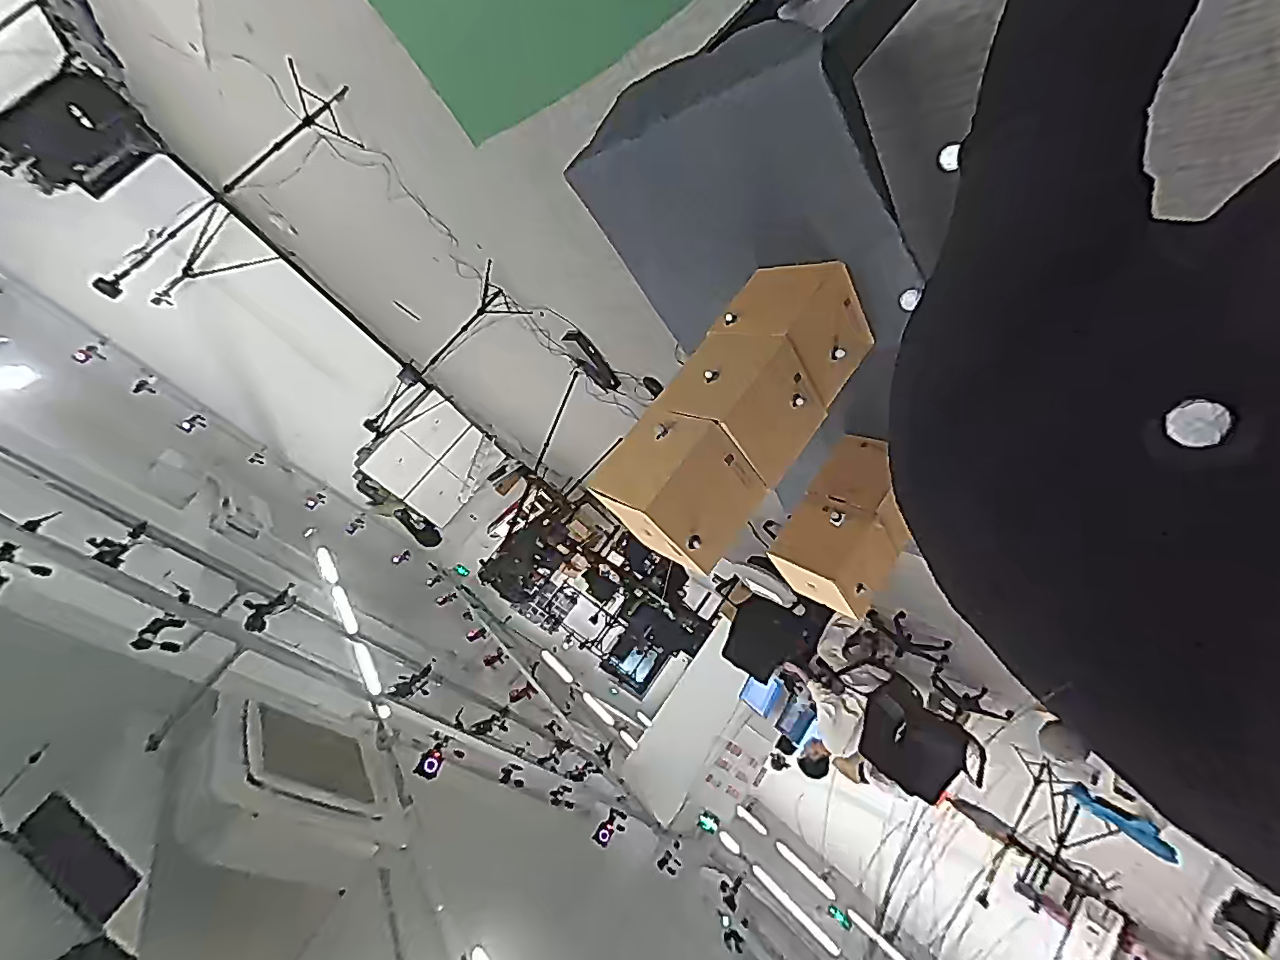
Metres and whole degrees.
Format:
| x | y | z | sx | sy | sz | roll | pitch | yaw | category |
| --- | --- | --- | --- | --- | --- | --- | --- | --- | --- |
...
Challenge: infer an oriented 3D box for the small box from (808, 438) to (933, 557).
| x | y | z | sx | sy | sz | roll | pitch | yaw | category |
| --- | --- | --- | --- | --- | --- | --- | --- | --- | --- |
| 0.500 | 0.032 | 1.167 | 0.168 | 0.176 | 0.179 | 21 | 160 | 51 | small box |

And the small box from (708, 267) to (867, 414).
| x | y | z | sx | sy | sz | roll | pitch | yaw | category |
| --- | --- | --- | --- | --- | --- | --- | --- | --- | --- |
| 0.254 | -0.235 | 0.907 | 0.179 | 0.176 | 0.168 | 22 | 159 | 52 | small box |

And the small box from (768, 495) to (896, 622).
| x | y | z | sx | sy | sz | roll | pitch | yaw | category |
| --- | --- | --- | --- | --- | --- | --- | --- | --- | --- |
| 0.406 | 0.160 | 1.129 | 0.168 | 0.176 | 0.179 | 20 | 158 | 49 | small box |

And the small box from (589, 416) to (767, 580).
| x | y | z | sx | sy | sz | roll | pitch | yaw | category |
| --- | --- | --- | --- | --- | --- | --- | --- | --- | --- |
| 0.059 | 0.019 | 0.835 | 0.168 | 0.176 | 0.179 | 45 | 166 | -32 | small box |
